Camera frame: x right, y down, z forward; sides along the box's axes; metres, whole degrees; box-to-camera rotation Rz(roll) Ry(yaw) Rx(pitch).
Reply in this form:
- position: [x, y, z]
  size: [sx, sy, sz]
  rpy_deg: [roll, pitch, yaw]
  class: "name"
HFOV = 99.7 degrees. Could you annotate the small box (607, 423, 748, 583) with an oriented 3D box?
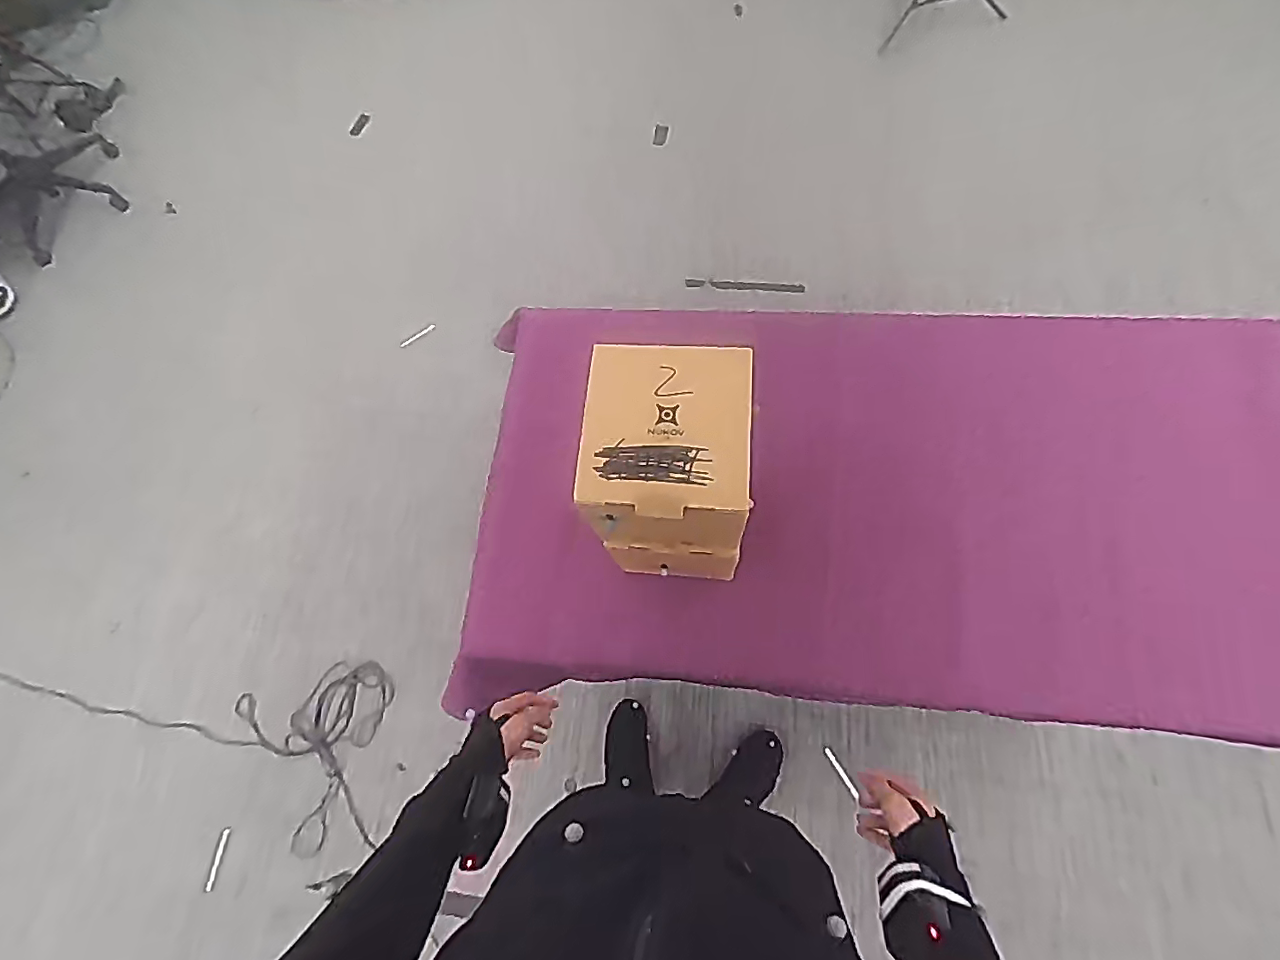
- position: [0.056, 0.037, 0.755]
  size: [0.168, 0.176, 0.179]
  rpy_deg: [4, 72, 7]
  class: "small box"
